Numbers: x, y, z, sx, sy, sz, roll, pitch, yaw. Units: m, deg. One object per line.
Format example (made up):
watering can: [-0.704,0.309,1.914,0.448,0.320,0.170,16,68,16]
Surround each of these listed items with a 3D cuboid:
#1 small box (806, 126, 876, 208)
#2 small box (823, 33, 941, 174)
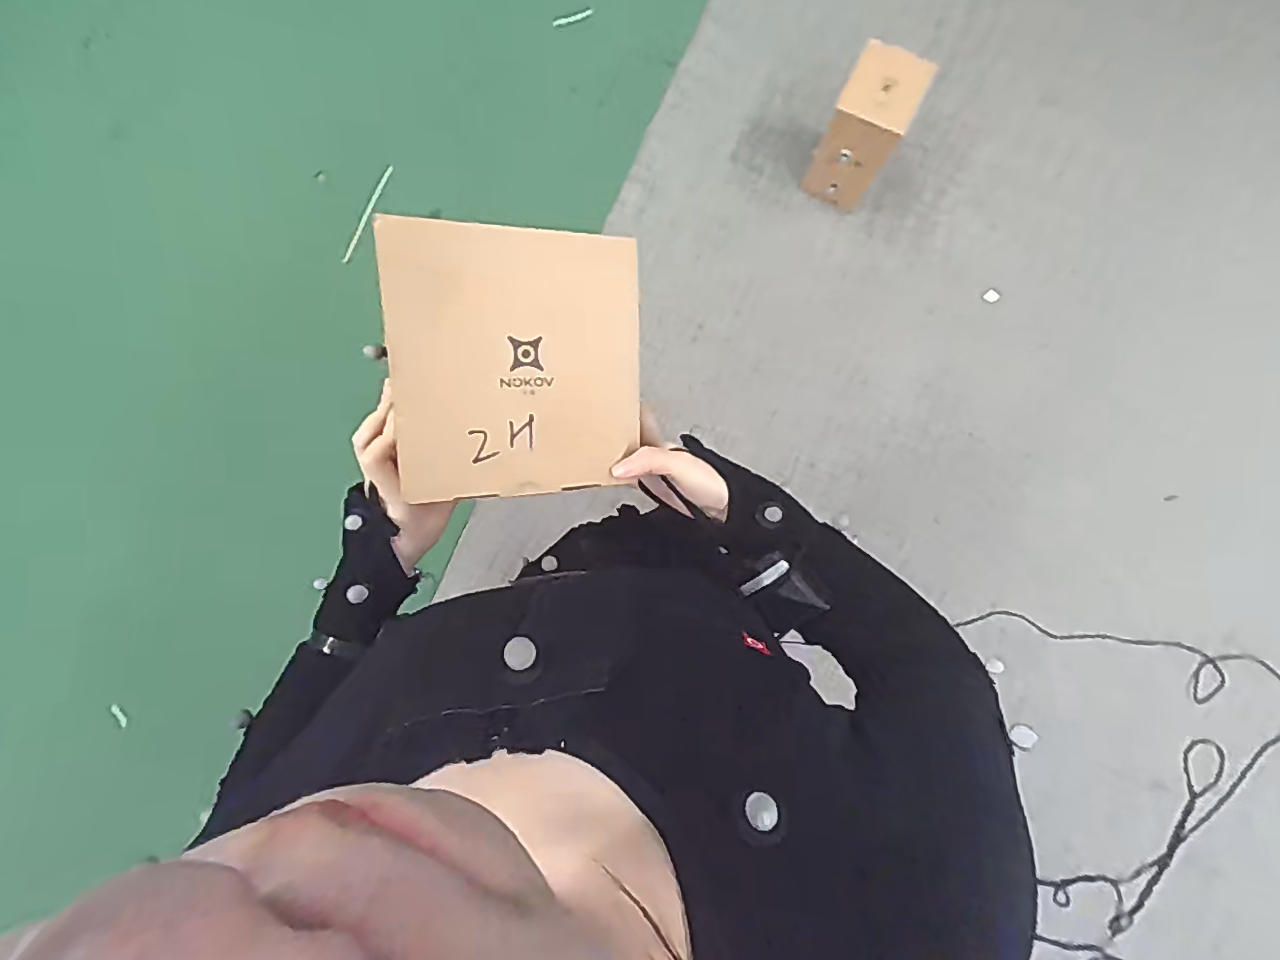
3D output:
small box: [0.551,-0.851,1.406,0.168,0.176,0.179,29,91,4]
small box: [0.543,-0.855,1.243,0.168,0.176,0.179,26,91,5]
